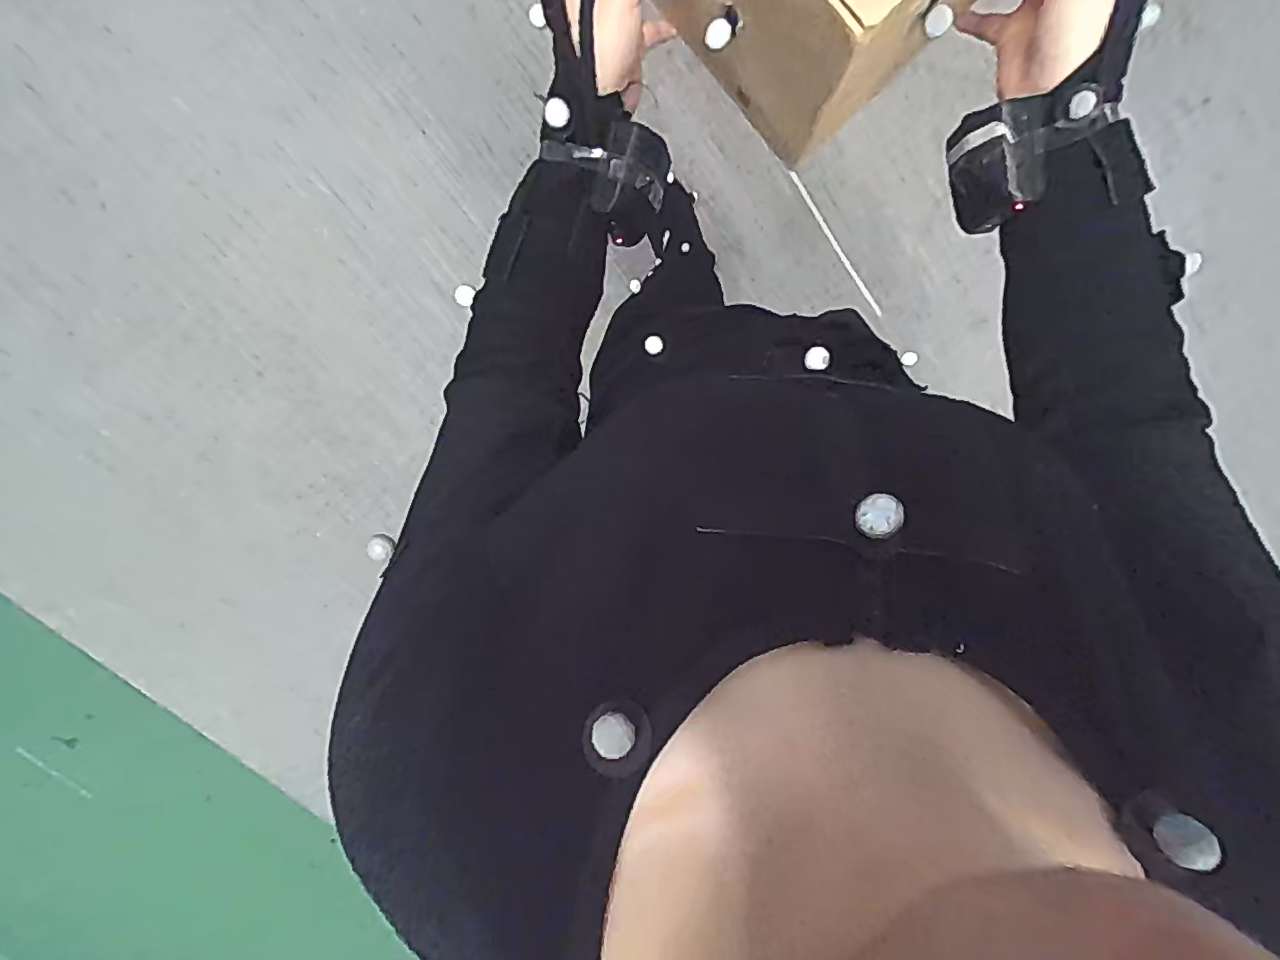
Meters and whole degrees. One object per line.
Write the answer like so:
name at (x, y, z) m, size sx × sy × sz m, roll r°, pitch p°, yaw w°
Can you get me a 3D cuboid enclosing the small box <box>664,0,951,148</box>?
small box at (0.111, -0.341, 0.311) m, size 0.179 × 0.176 × 0.168 m, roll -42°, pitch 94°, yaw 12°
